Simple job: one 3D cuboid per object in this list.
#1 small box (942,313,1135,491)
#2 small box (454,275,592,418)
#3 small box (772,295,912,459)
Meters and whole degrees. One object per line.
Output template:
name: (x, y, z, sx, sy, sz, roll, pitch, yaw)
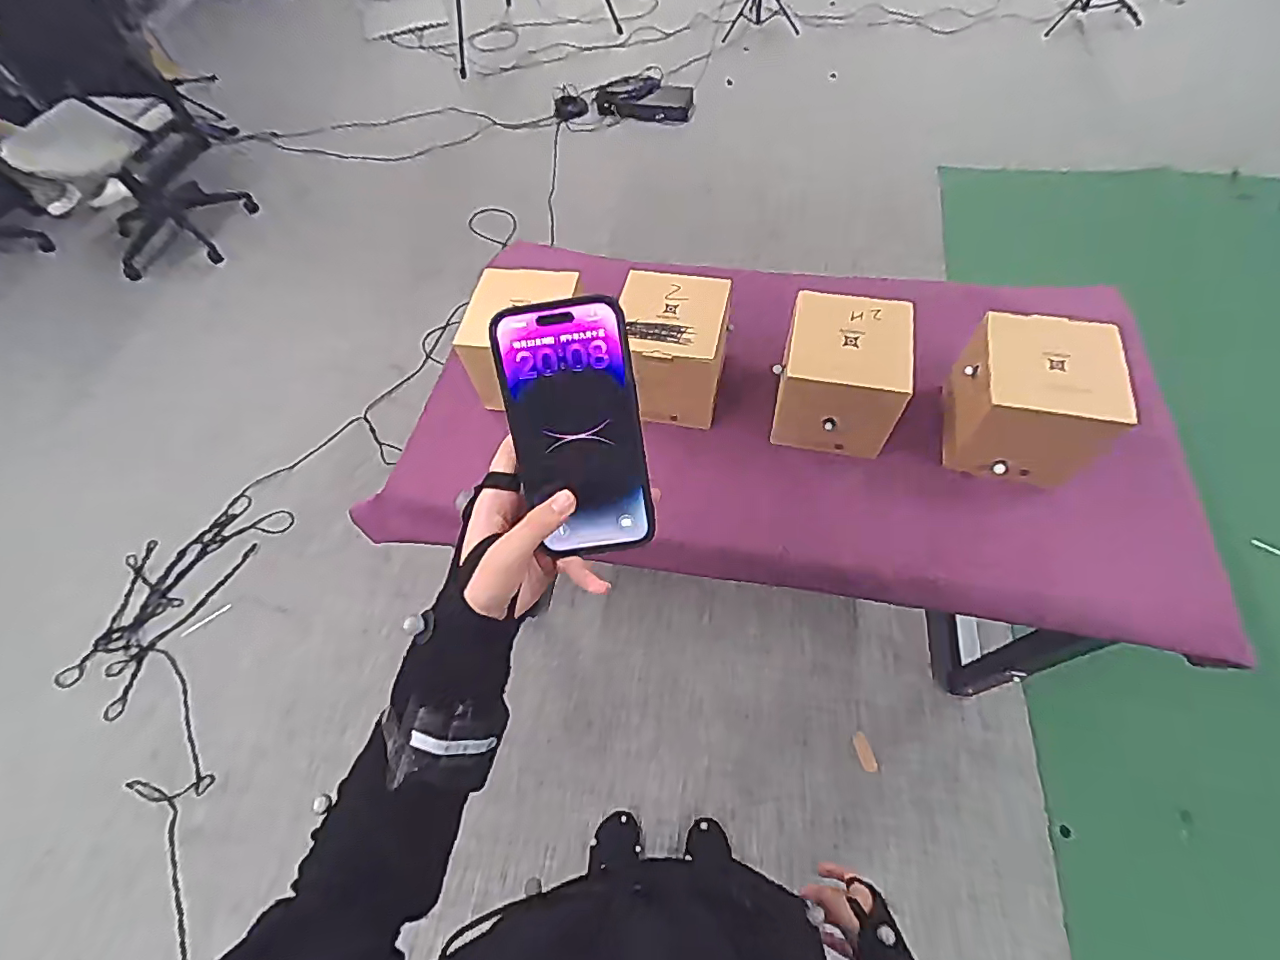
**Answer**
small box: (0.557, -0.110, 0.785, 0.168, 0.176, 0.179, 11, 61, 13)
small box: (-0.185, -0.222, 0.918, 0.168, 0.176, 0.179, 5, 59, 8)
small box: (0.304, -0.154, 0.833, 0.168, 0.176, 0.179, 10, 60, 11)
